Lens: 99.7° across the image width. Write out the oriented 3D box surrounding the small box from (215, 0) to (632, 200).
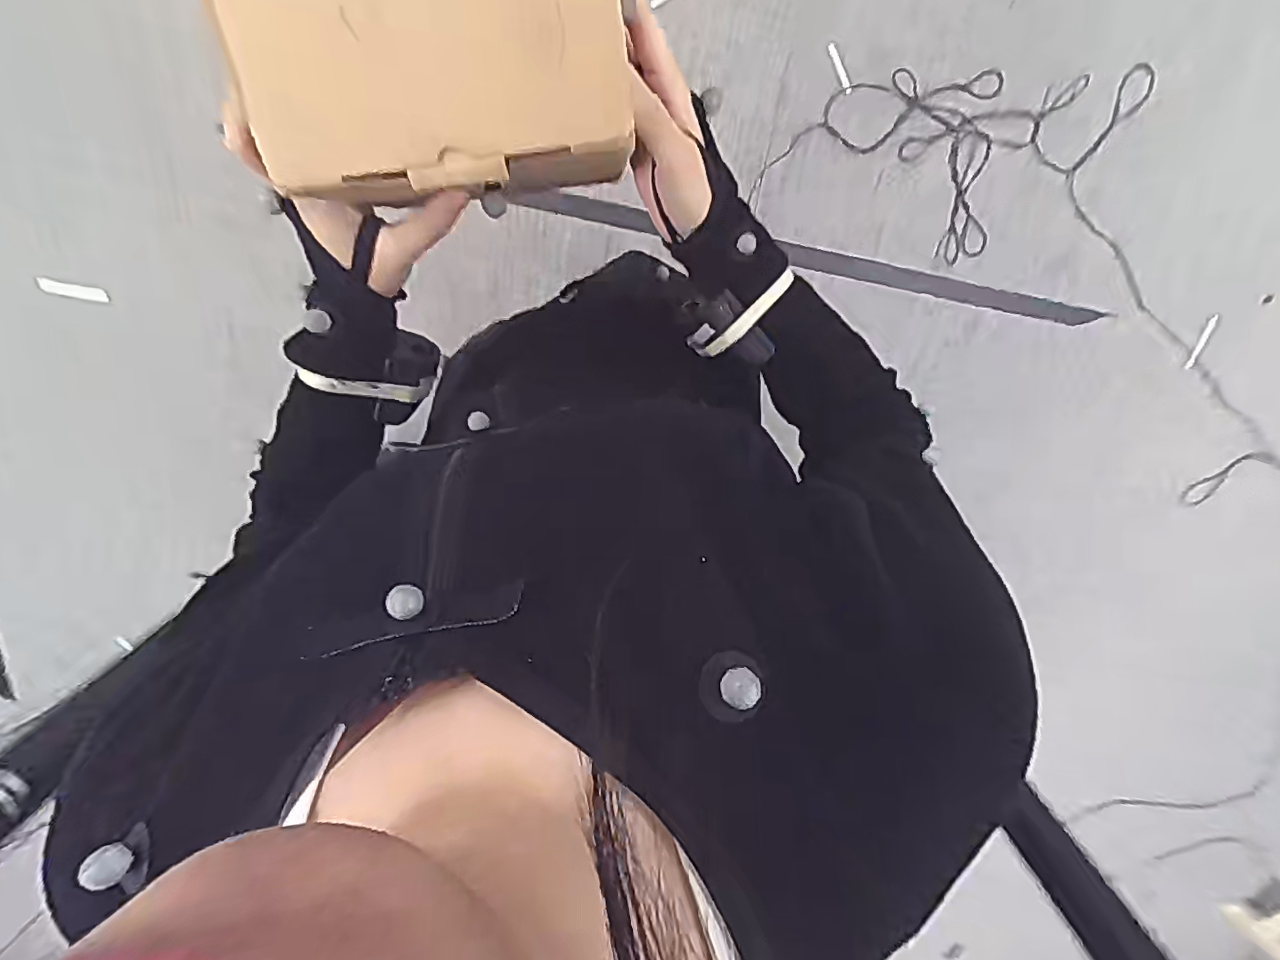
[{"bbox_3d":[-0.095,-0.250,0.282,0.168,0.176,0.179,-7,115,-1],"label":"small box"}]
